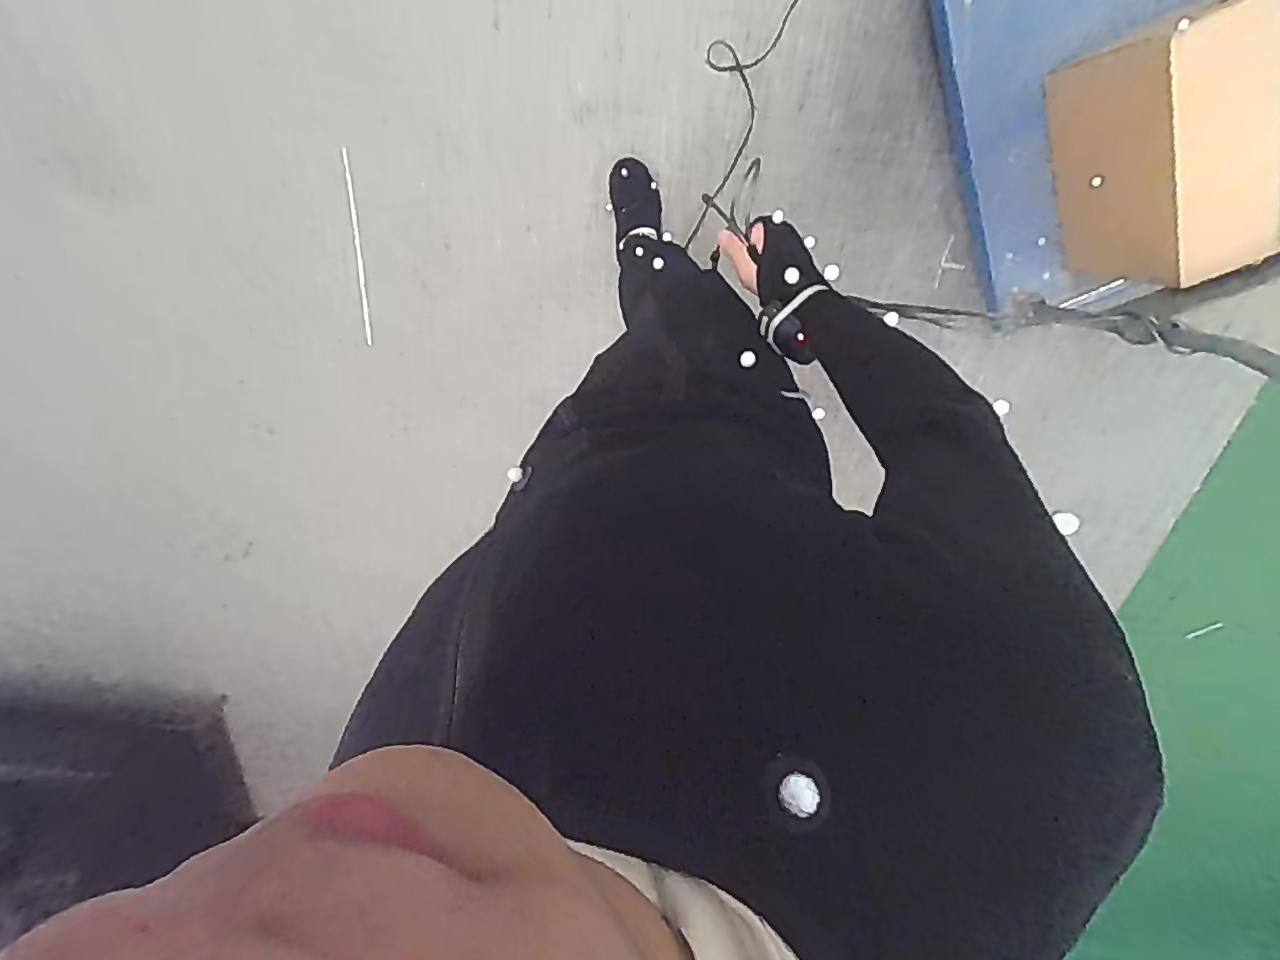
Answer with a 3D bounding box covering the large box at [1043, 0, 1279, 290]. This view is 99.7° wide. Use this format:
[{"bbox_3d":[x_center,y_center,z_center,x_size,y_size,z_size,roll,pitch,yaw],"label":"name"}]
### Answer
[{"bbox_3d":[1.005,-0.616,0.981,0.320,0.320,0.408,-21,113,13],"label":"large box"}]
